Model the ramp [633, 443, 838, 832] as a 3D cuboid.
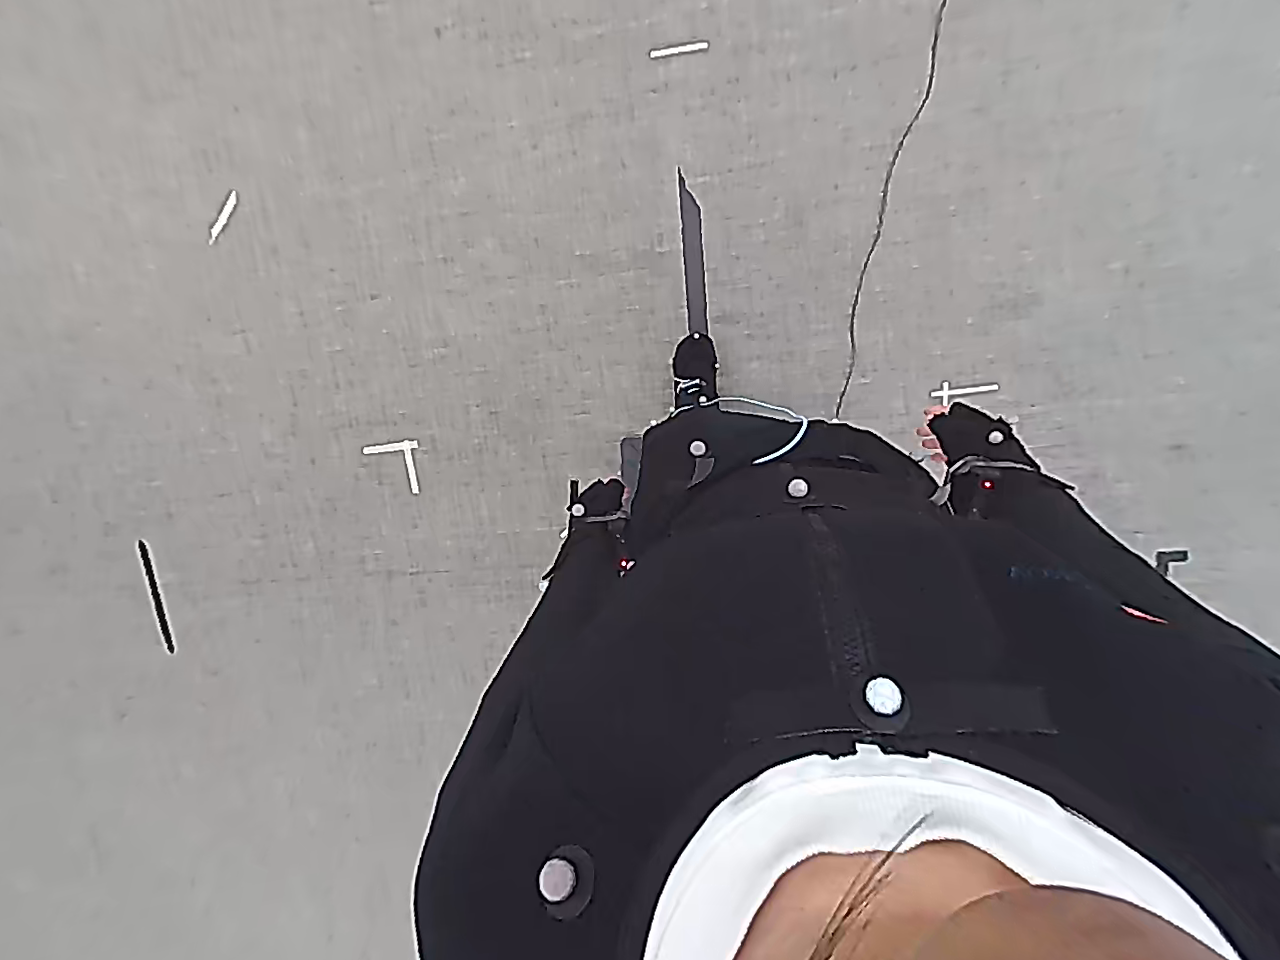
[{"bbox_3d":[0.240,0.412,1.437,0.509,0.206,0.991,-4,97,11],"label":"ramp"}]
